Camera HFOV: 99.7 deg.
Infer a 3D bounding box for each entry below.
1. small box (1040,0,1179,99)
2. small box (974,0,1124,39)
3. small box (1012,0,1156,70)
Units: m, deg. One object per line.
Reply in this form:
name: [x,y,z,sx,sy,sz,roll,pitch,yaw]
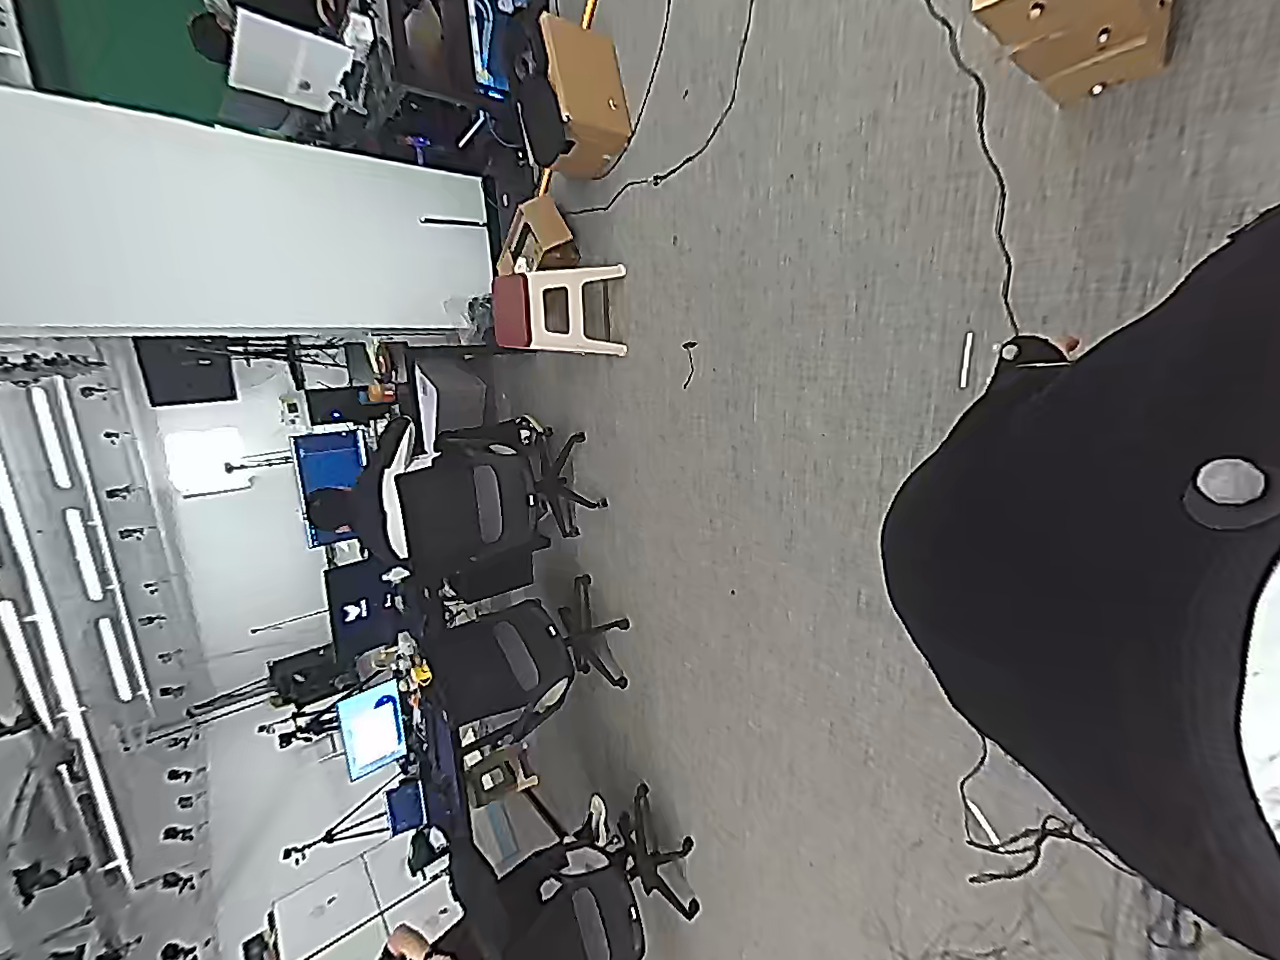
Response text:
small box: [0.885,-0.862,1.018,0.168,0.176,0.179,11,109,50]
small box: [0.640,-0.810,0.809,0.179,0.176,0.168,16,112,49]
small box: [0.758,-0.842,0.920,0.168,0.176,0.179,5,102,50]
